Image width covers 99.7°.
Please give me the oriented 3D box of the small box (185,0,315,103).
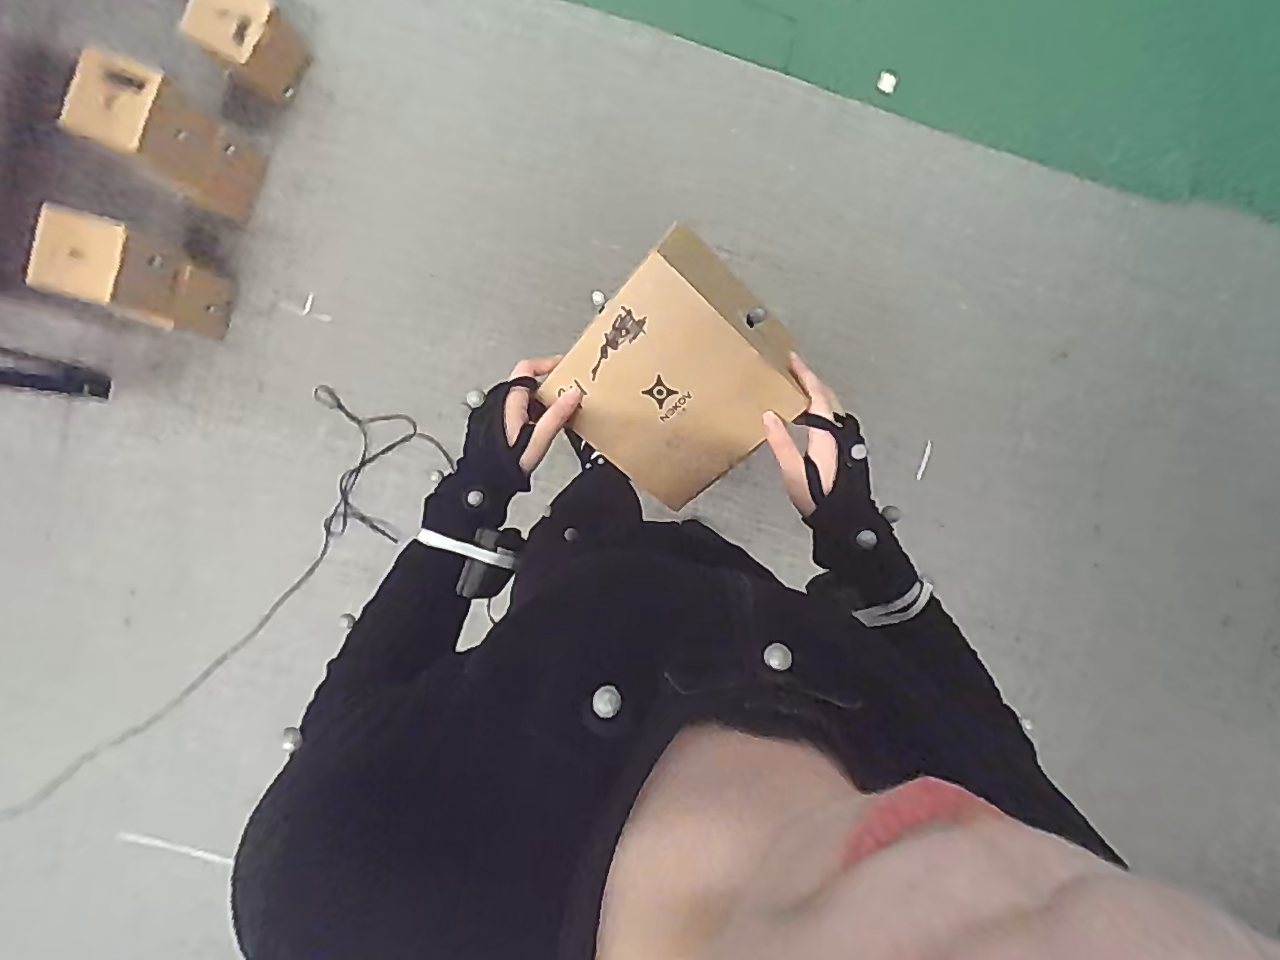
[{"bbox_3d":[-0.967,-1.100,1.358,0.179,0.176,0.168,26,91,-1],"label":"small box"}]
